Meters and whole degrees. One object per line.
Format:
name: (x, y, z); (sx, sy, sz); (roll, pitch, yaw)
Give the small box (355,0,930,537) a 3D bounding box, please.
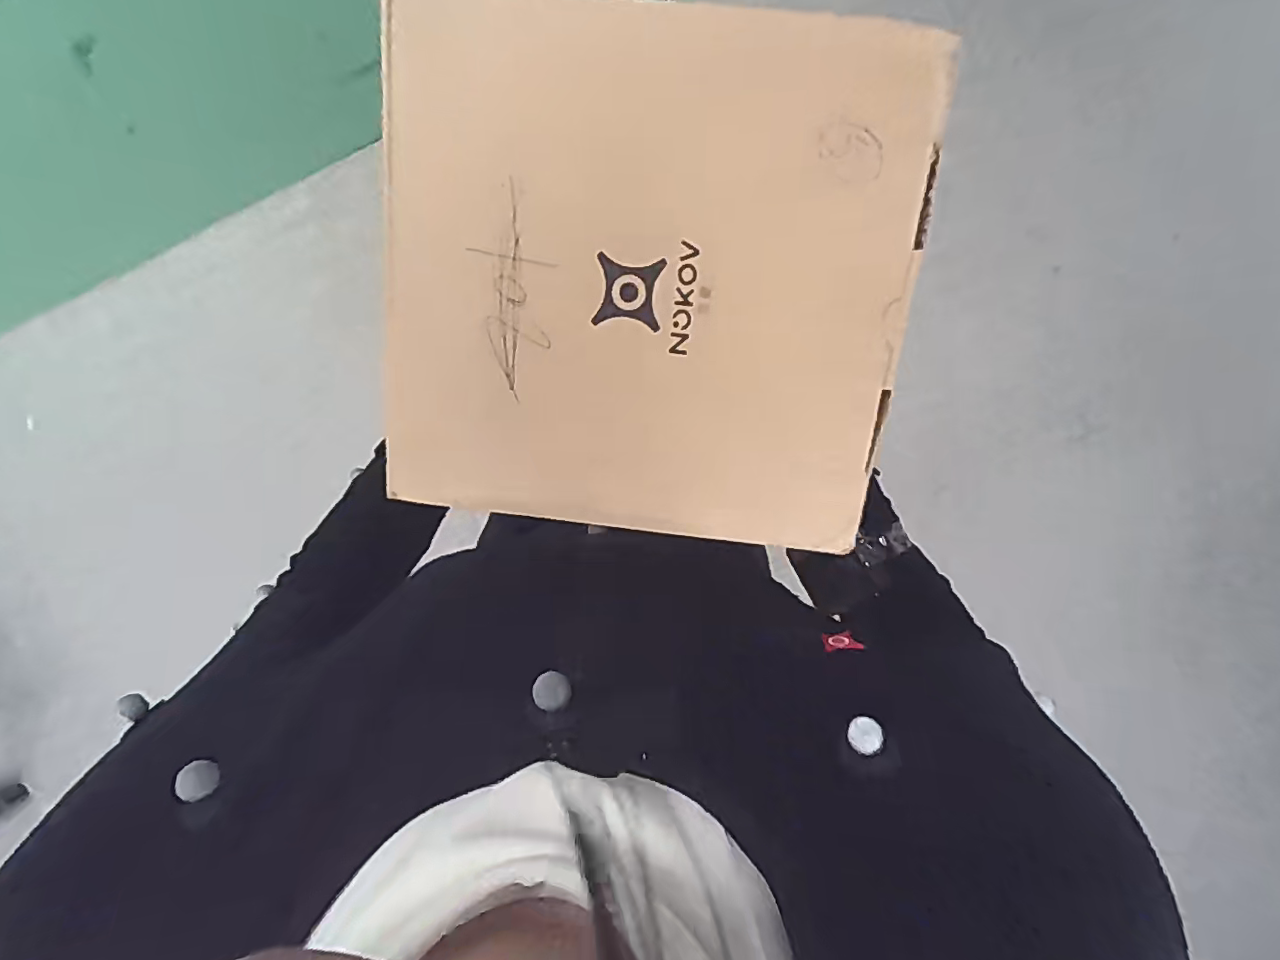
small box: (-0.002, -0.084, 0.257); (0.179, 0.176, 0.168); (5, 103, 4)
